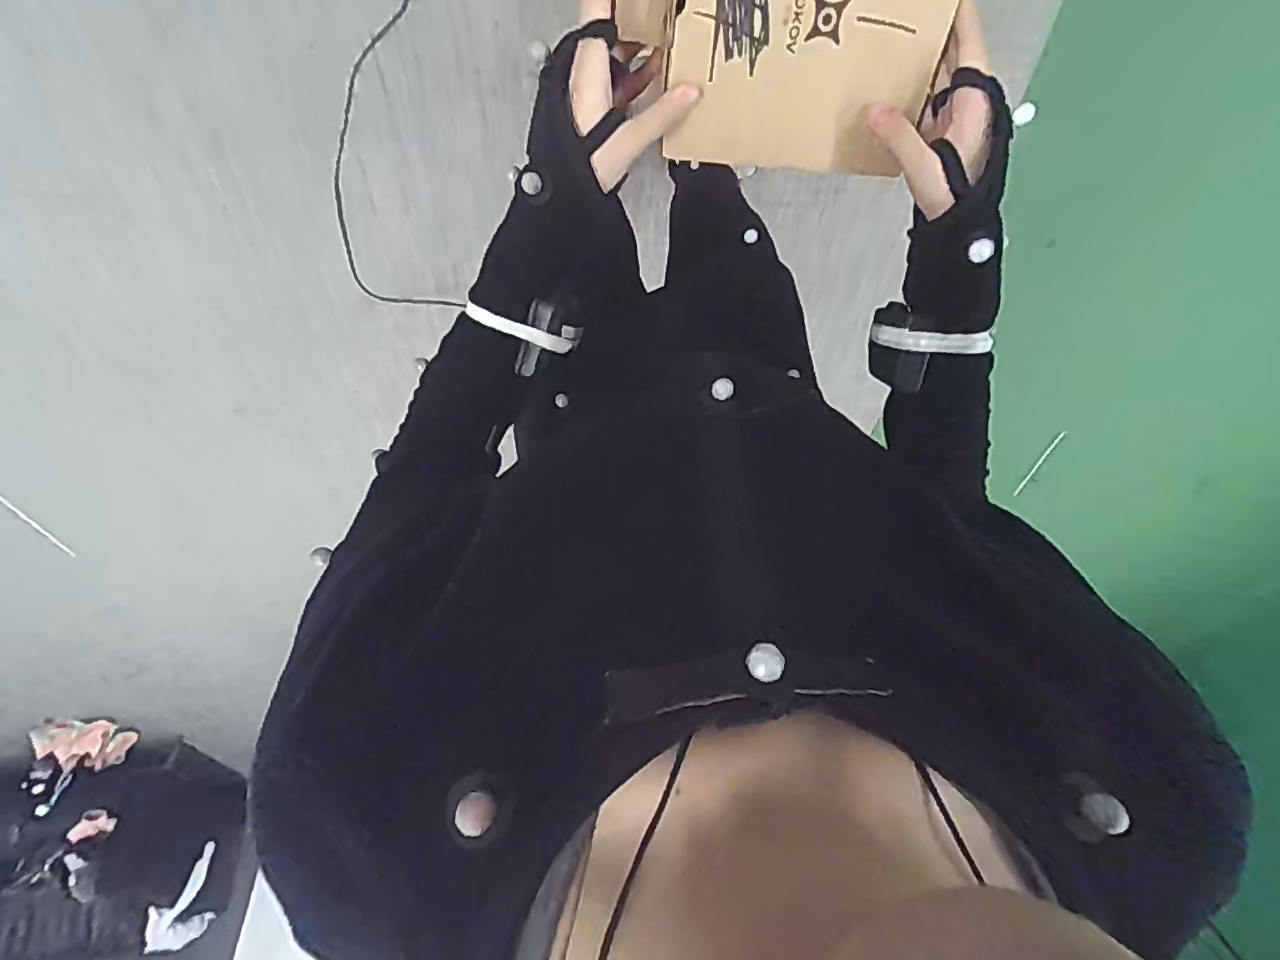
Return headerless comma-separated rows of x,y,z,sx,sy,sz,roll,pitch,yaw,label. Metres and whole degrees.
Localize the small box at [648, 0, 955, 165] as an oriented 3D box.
0.101,-0.339,0.385,0.179,0.176,0.168,2,130,-5,small box
